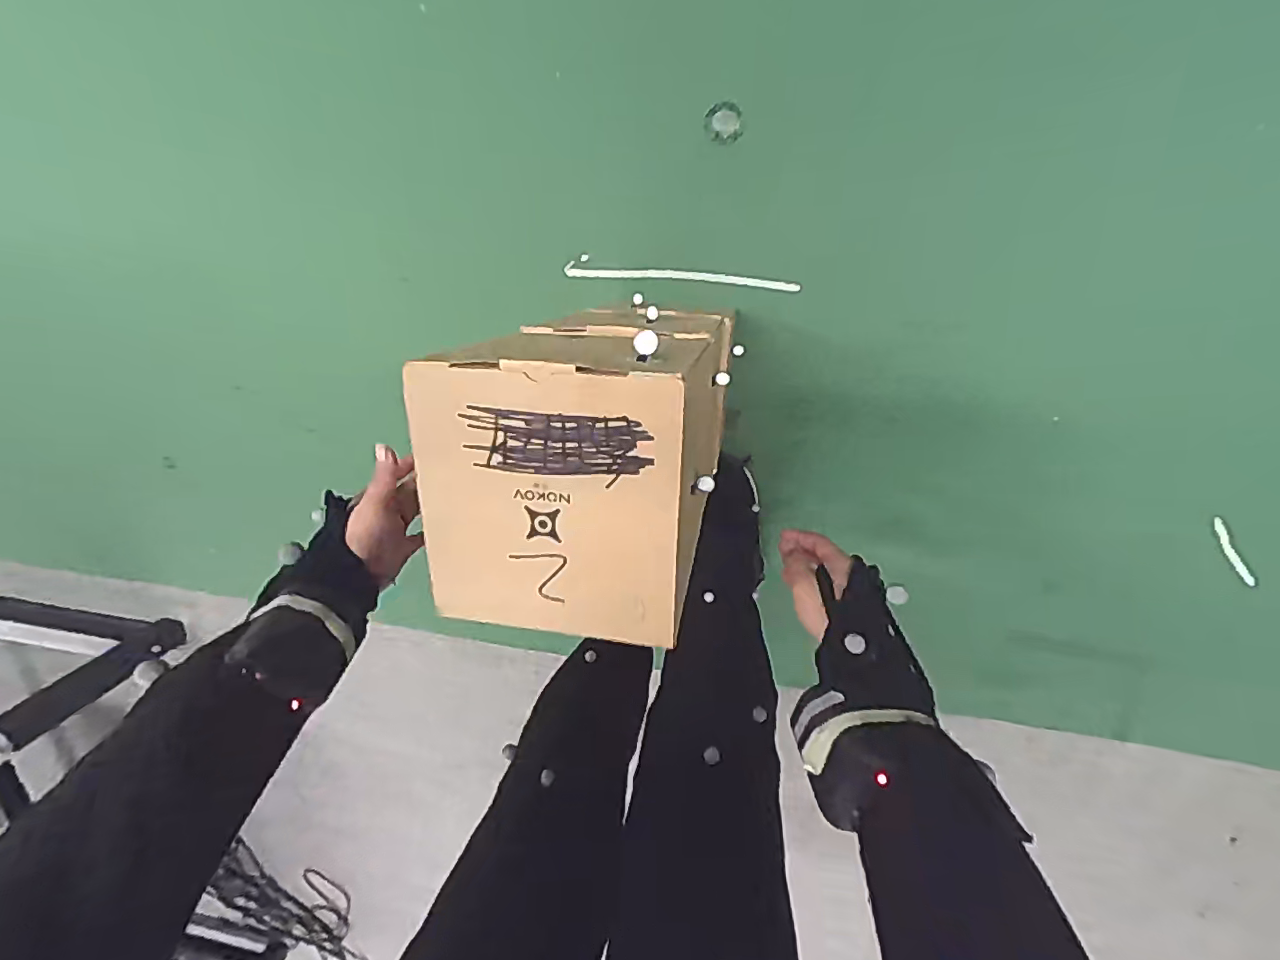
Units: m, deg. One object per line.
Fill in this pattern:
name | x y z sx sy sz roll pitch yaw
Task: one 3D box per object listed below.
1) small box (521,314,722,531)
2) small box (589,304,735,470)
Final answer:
small box | -0.008 -0.069 0.548 0.168 0.176 0.179 5 111 10
small box | 0.031 -0.129 0.694 0.168 0.176 0.179 6 113 10
